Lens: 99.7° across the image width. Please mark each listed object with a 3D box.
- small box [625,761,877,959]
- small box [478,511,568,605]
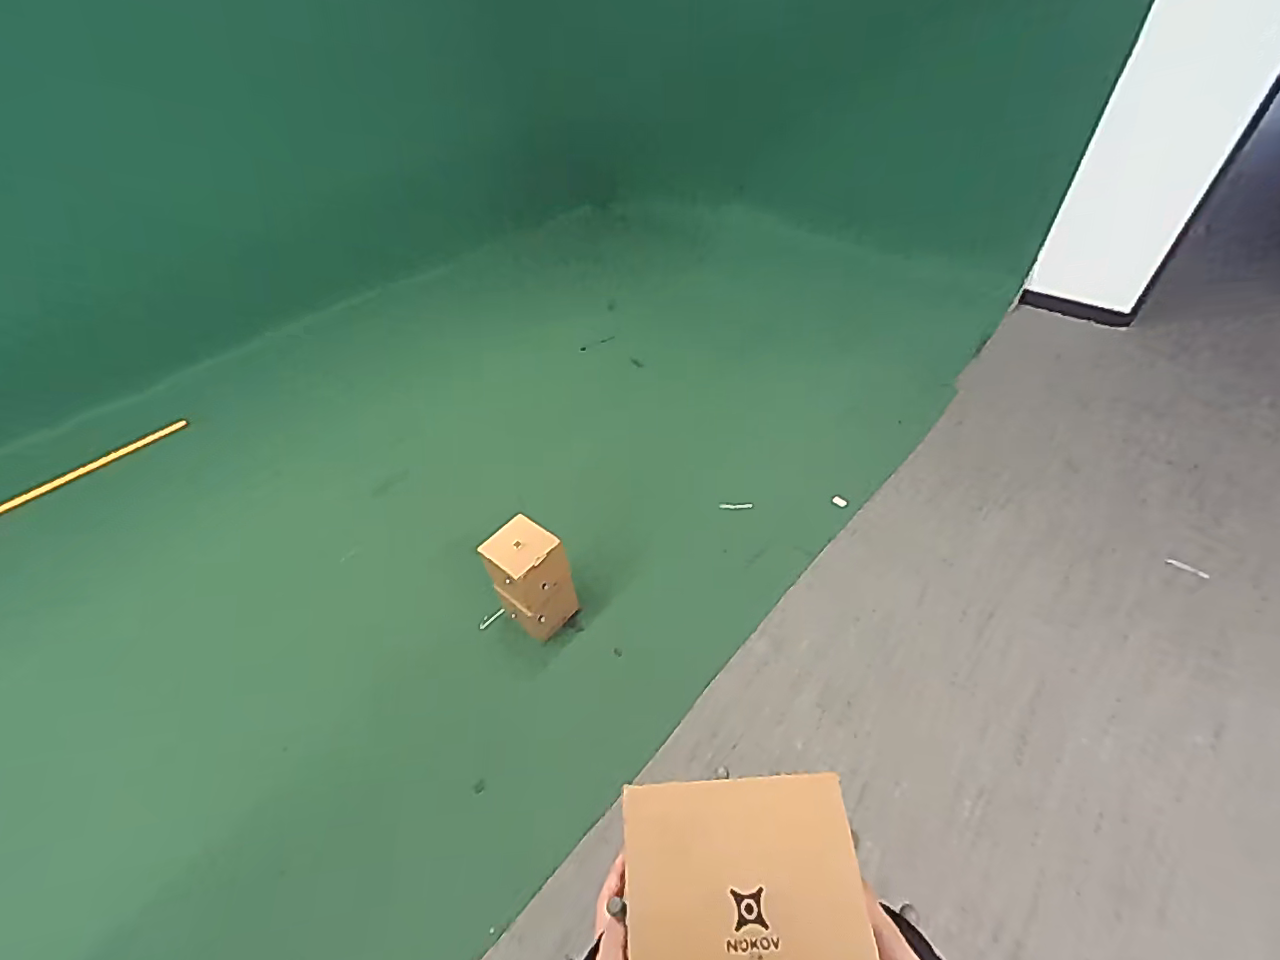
[{"bbox_3d":[0.072,0.334,0.431,0.168,0.176,0.179,-2,57,-1],"label":"small box"},{"bbox_3d":[-0.332,0.228,1.560,0.179,0.176,0.168,29,54,29],"label":"small box"}]
